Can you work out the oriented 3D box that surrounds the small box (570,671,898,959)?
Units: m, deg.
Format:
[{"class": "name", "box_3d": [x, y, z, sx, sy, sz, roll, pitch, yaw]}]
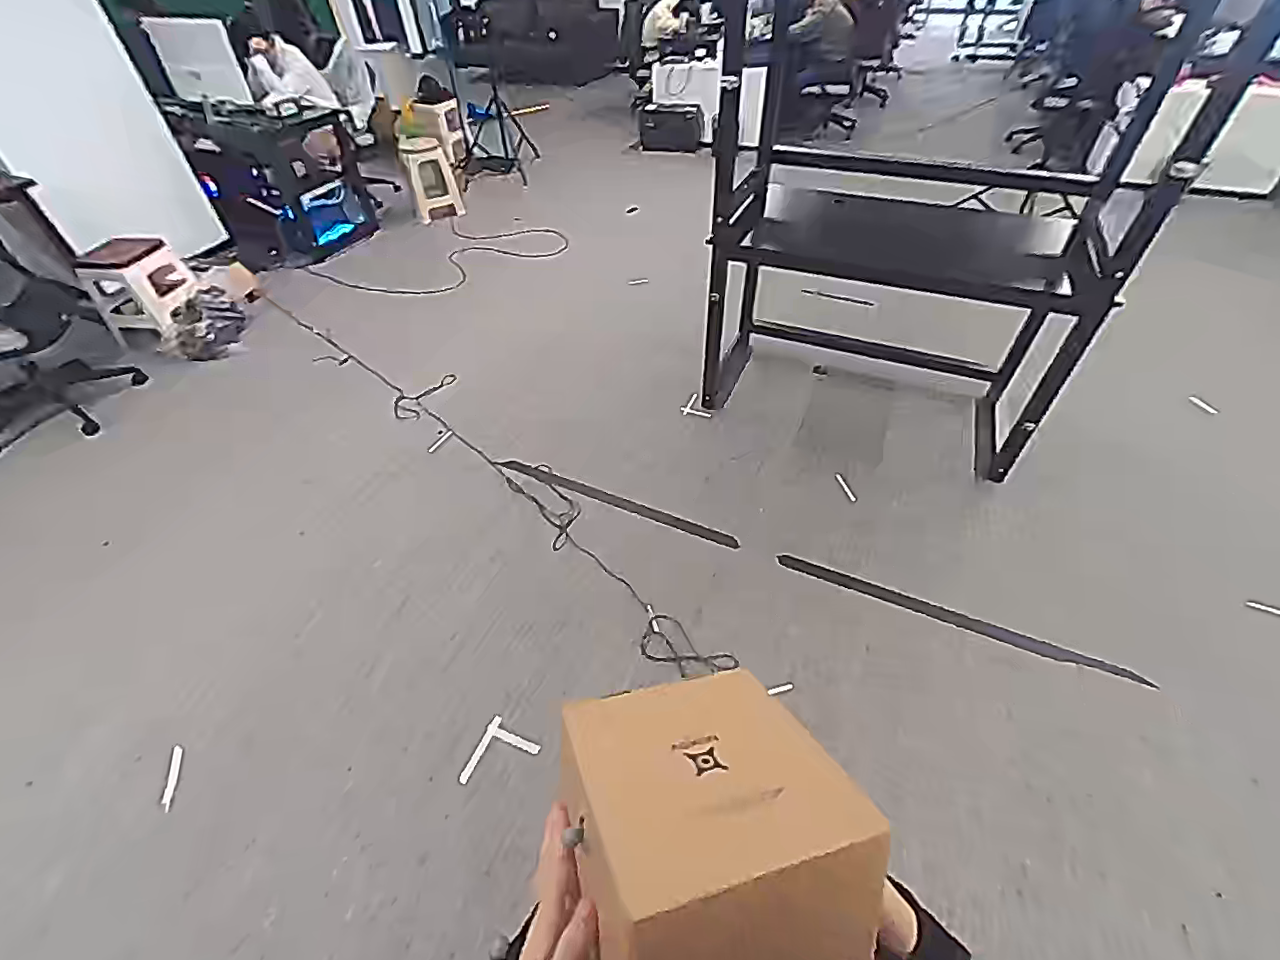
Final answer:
[{"class": "small box", "box_3d": [0.045, 0.267, 0.384, 0.168, 0.176, 0.179, -4, 15, -19]}]
